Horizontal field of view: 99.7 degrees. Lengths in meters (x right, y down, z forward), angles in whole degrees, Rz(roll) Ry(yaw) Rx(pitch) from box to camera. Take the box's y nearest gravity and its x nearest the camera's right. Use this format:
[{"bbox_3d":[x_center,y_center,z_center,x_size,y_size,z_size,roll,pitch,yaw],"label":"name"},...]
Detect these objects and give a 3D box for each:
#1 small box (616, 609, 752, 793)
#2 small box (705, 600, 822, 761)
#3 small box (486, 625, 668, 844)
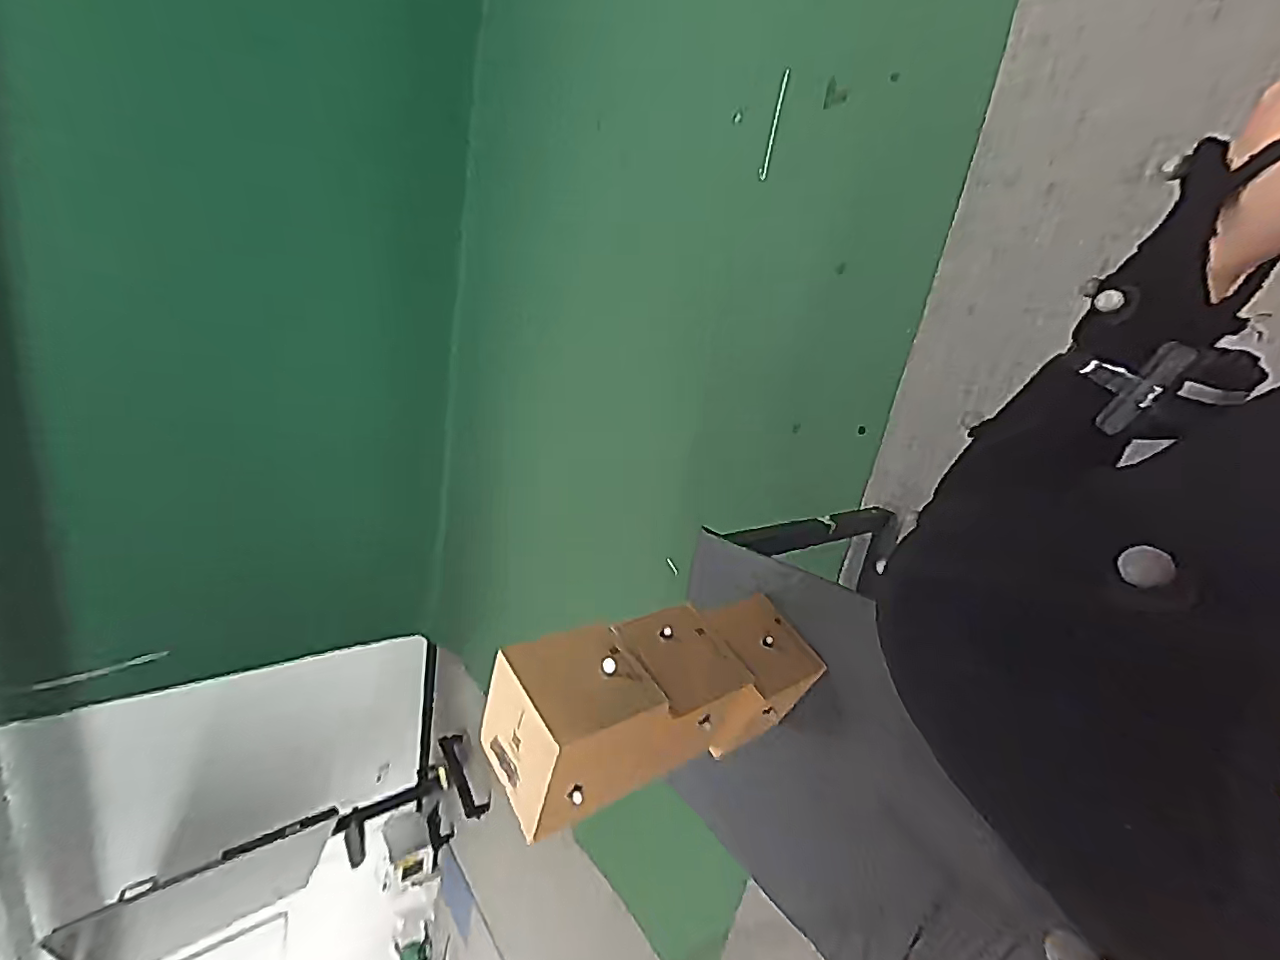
[{"bbox_3d":[0.044,0.323,0.823,0.168,0.176,0.179,46,128,39],"label":"small box"},{"bbox_3d":[0.178,0.328,0.916,0.168,0.176,0.179,50,130,35],"label":"small box"},{"bbox_3d":[-0.086,0.325,0.722,0.168,0.176,0.179,38,121,42],"label":"small box"}]
